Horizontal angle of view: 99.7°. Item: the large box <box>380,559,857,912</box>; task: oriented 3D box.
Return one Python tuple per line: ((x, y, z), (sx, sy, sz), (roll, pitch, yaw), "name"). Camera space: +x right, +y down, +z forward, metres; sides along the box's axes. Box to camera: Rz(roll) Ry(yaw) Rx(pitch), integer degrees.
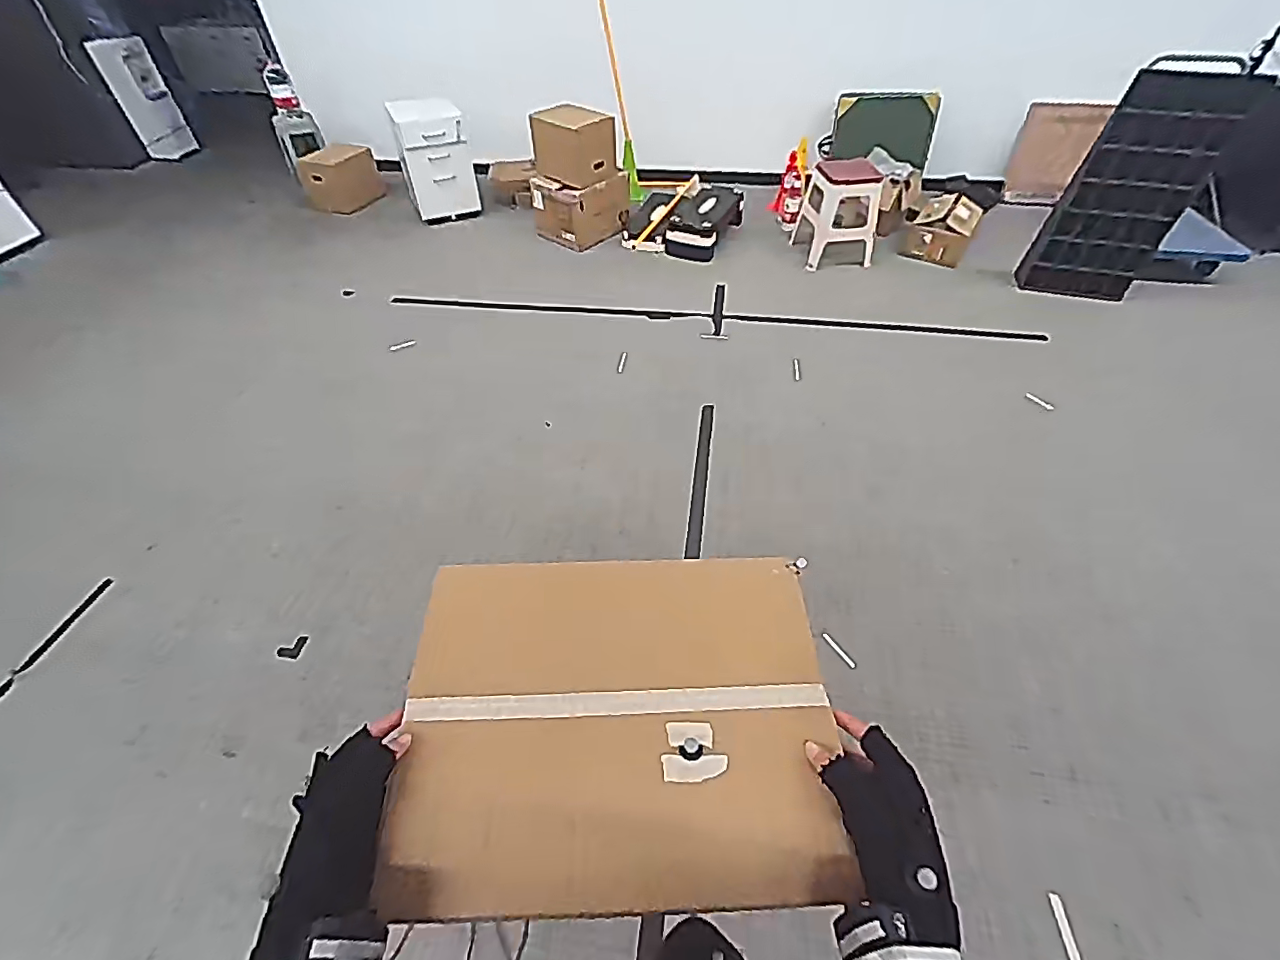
((-0.023, 0.310, 0.651), (0.408, 0.320, 0.320), (-1, 51, -1), "large box")
